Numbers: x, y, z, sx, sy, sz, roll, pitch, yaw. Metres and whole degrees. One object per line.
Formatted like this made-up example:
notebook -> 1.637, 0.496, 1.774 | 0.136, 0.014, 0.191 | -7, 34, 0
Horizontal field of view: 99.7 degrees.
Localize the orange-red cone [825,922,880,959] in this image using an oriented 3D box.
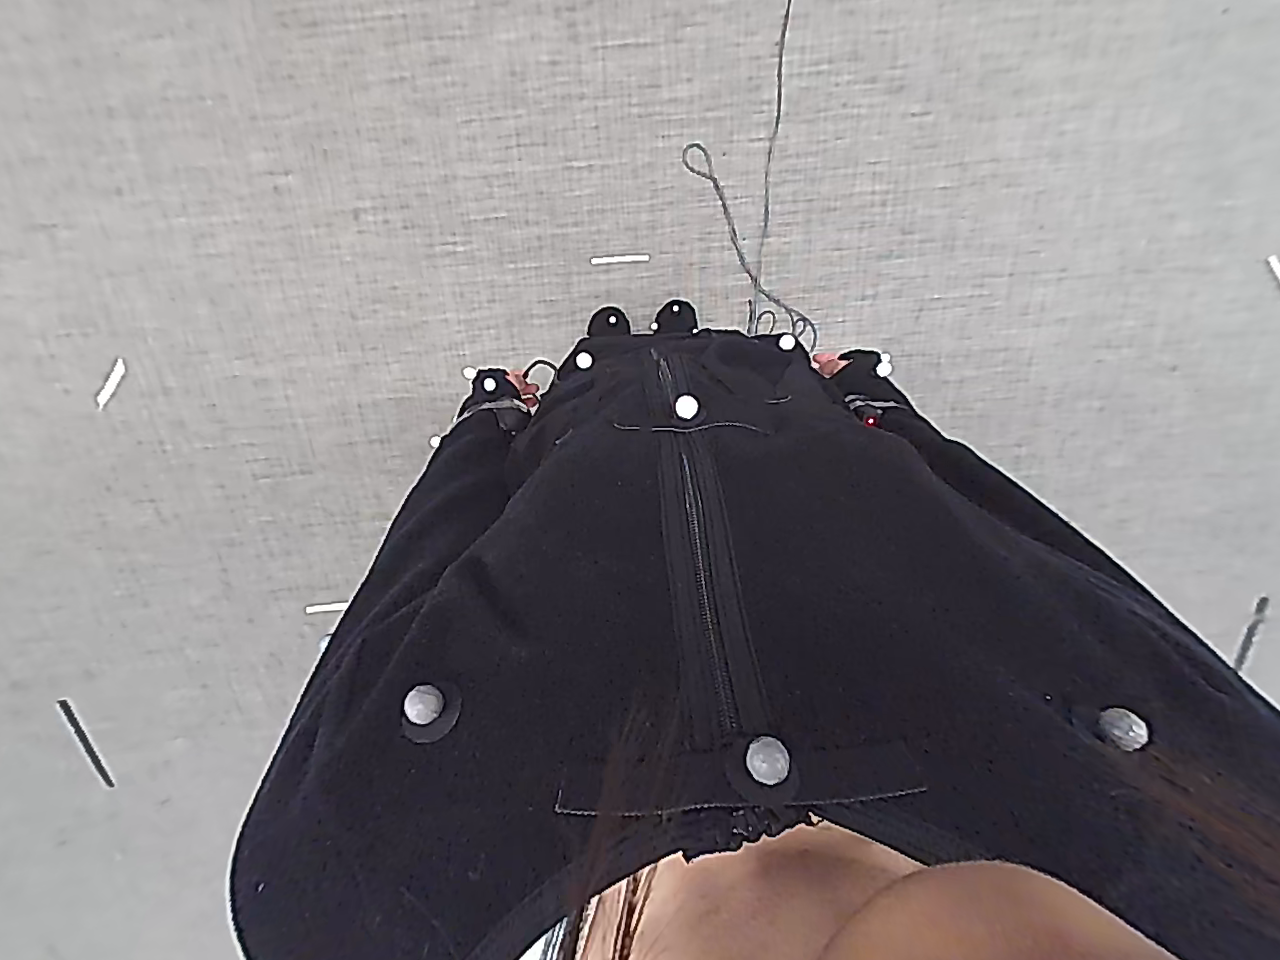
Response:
orange-red cone -> 0.829, 1.849, 1.943 | 0.198, 0.360, 0.199 | -1, 111, 0
